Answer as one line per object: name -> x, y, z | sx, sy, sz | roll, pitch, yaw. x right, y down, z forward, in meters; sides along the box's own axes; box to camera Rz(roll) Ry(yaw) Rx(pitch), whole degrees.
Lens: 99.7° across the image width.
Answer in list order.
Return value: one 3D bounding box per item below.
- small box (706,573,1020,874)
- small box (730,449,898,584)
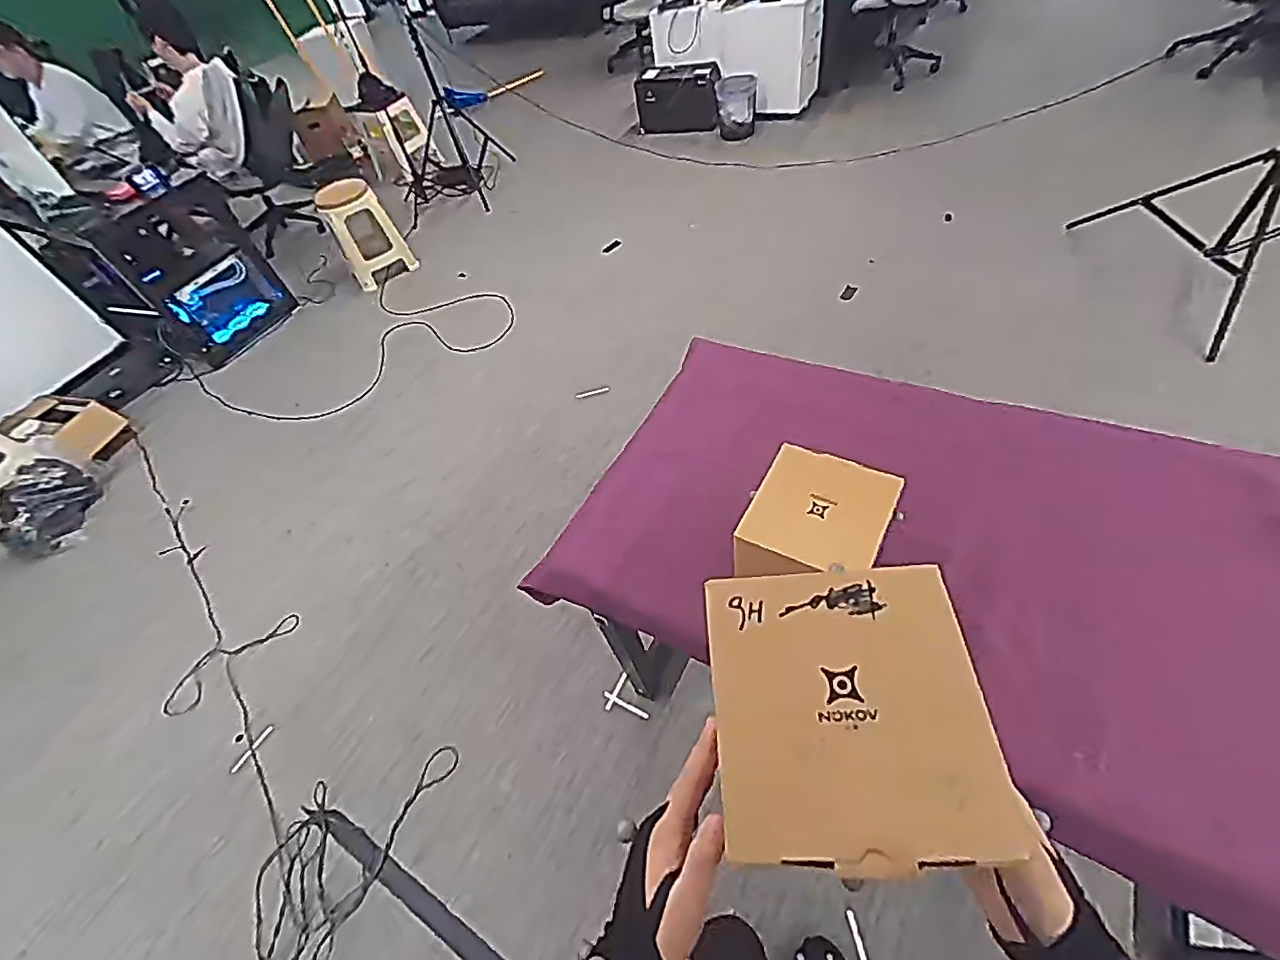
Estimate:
small box -> 0.143, 0.188, 0.417 | 0.168, 0.176, 0.179 | -5, 57, 7
small box -> 0.241, 0.091, 0.764 | 0.168, 0.176, 0.179 | 20, 58, 25
